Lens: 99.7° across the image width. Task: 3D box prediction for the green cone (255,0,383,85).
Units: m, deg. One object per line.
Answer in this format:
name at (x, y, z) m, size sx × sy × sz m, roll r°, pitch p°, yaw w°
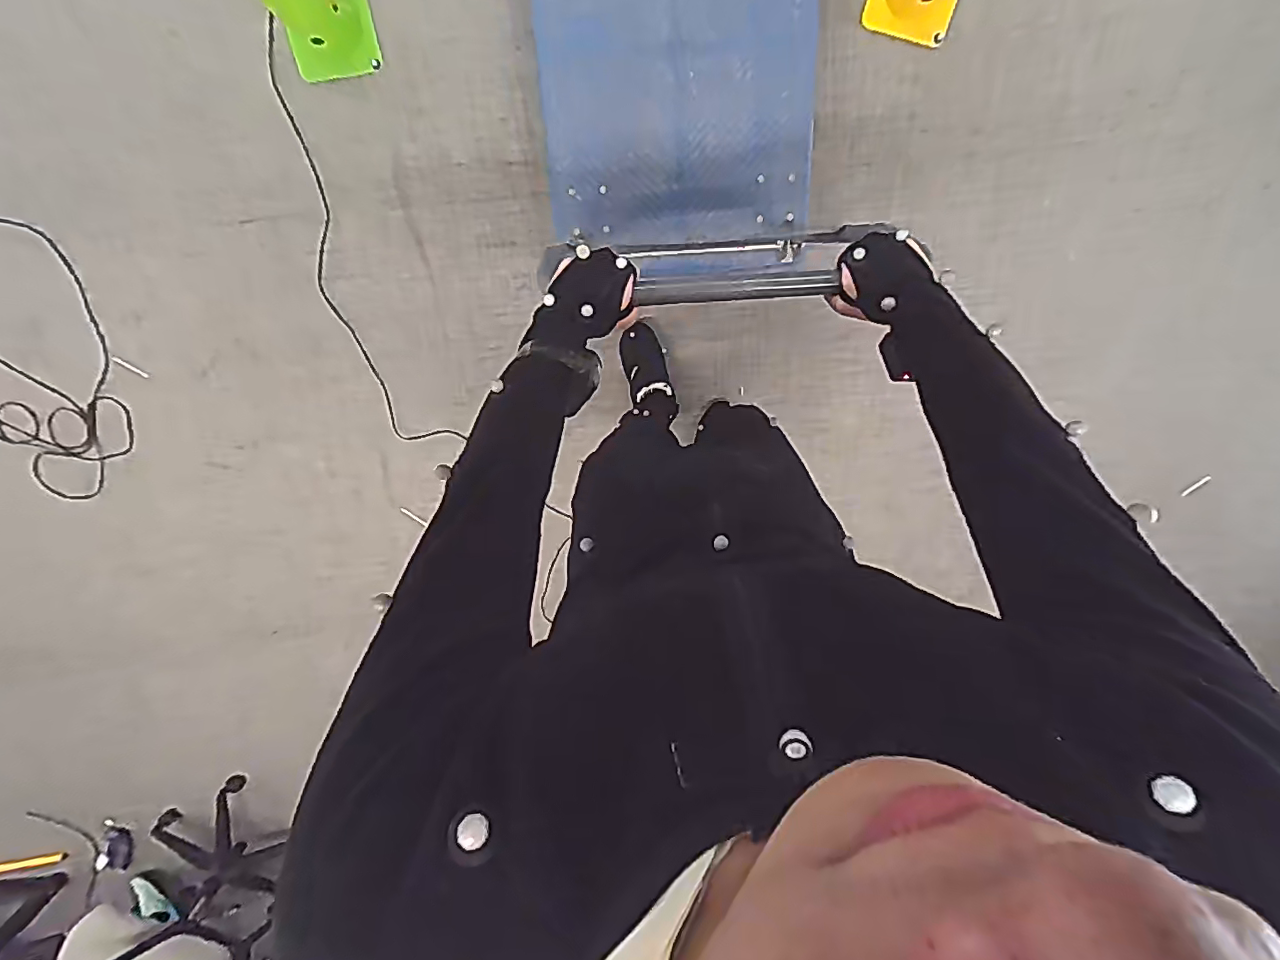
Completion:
green cone at (-0.710, -0.970, 1.072) m, size 0.202 × 0.368 × 0.200 m, roll -7°, pitch 111°, yaw 5°
